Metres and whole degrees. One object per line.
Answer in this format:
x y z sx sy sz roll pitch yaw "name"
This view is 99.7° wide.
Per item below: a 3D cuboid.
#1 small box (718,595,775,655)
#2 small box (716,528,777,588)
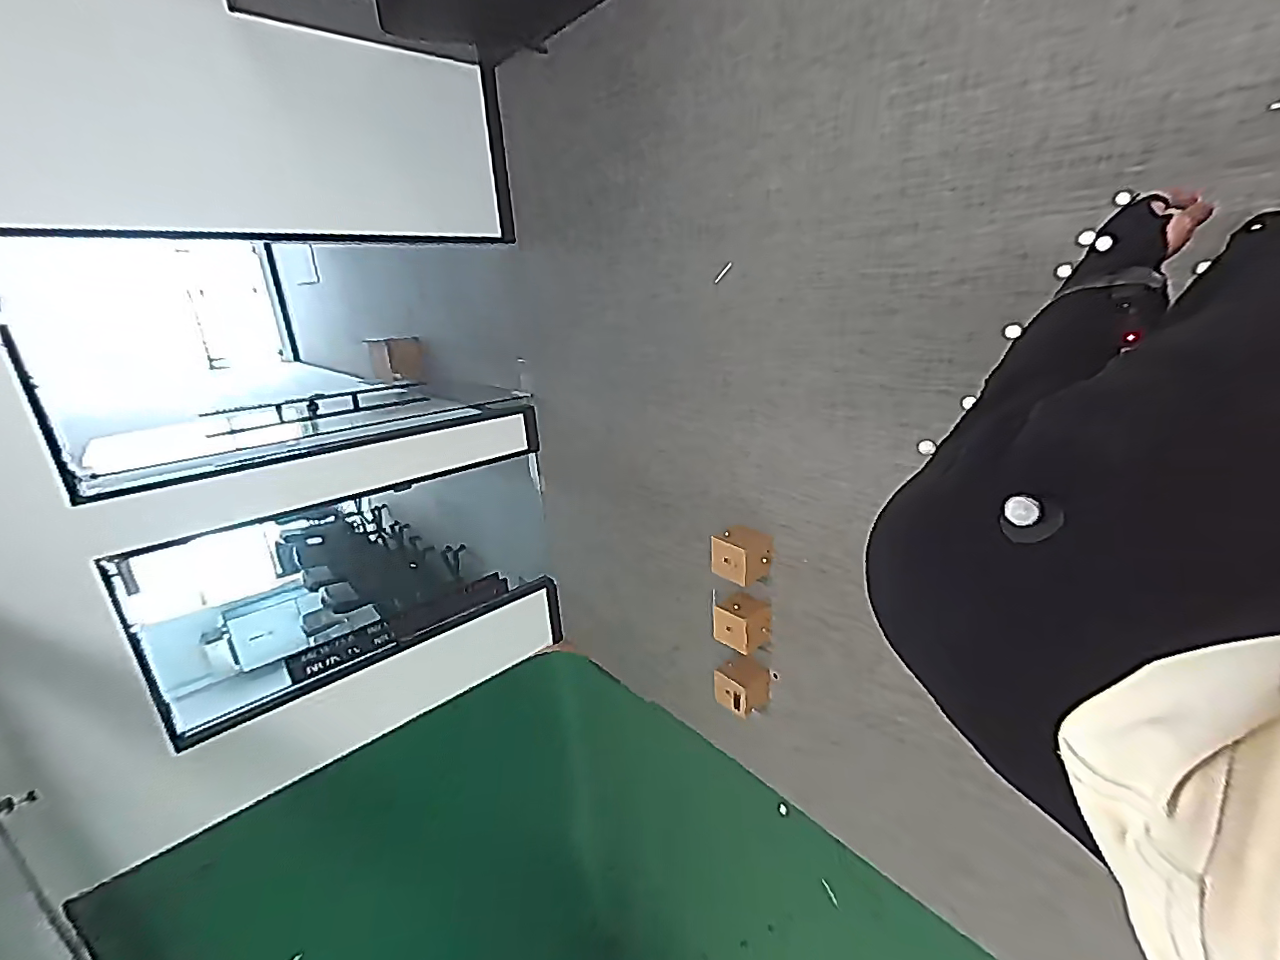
0.451 0.606 2.293 0.179 0.176 0.168 16 116 46 "small box"
0.430 0.308 2.195 0.179 0.176 0.168 20 120 45 "small box"
